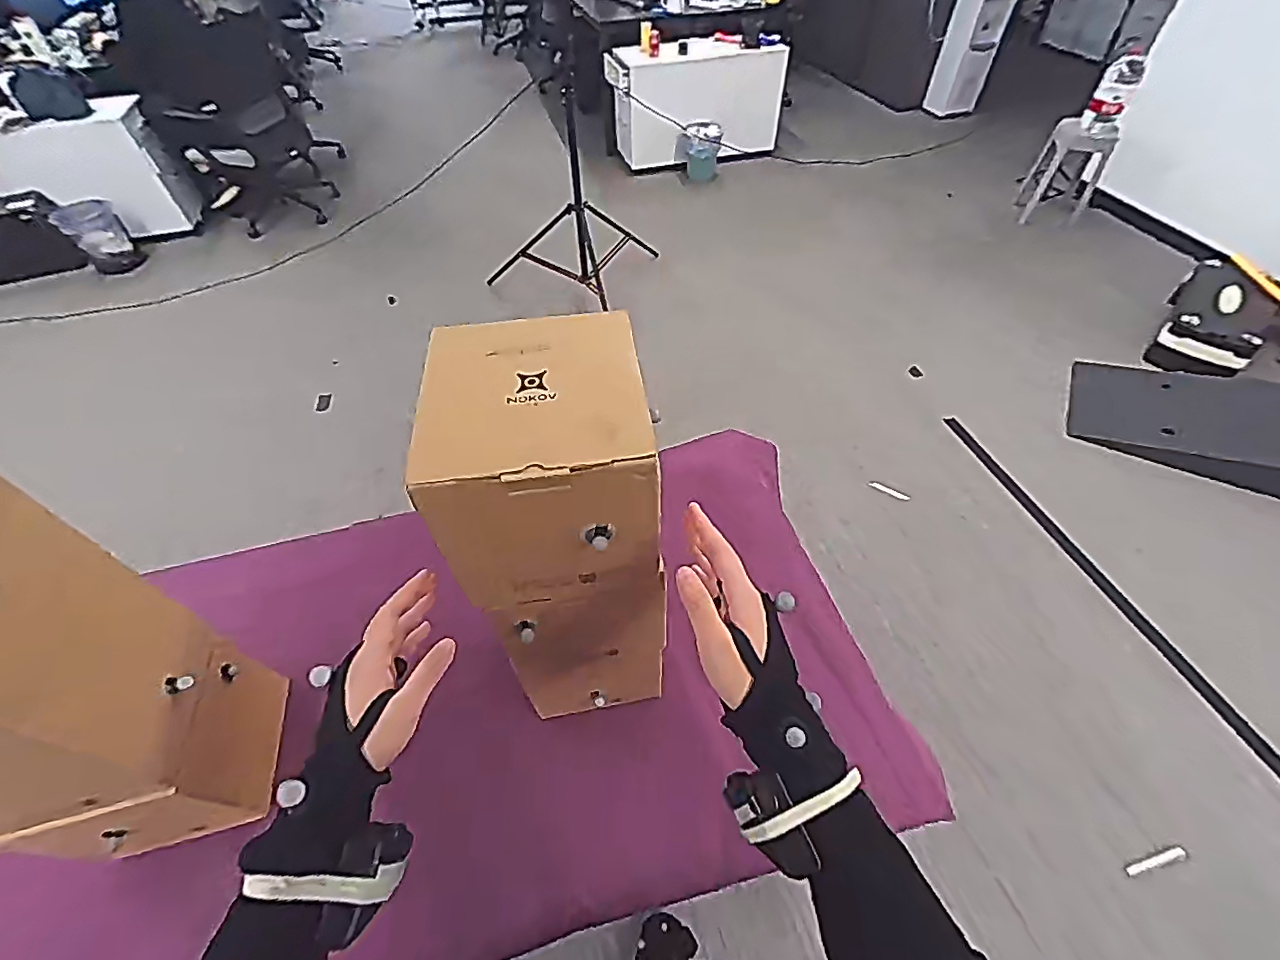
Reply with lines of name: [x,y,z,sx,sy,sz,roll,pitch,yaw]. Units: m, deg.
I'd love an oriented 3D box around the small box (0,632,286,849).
small box: [-0.550,0.309,0.632,0.168,0.176,0.179,-12,51,-9]

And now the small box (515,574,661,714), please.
small box: [-0.069,0.186,0.719,0.168,0.176,0.179,-9,51,-5]

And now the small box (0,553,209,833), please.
small box: [-0.555,0.200,0.509,0.168,0.176,0.179,-12,50,-9]

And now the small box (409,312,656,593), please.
small box: [-0.078,-0.017,0.464,0.168,0.176,0.179,-7,49,-5]
